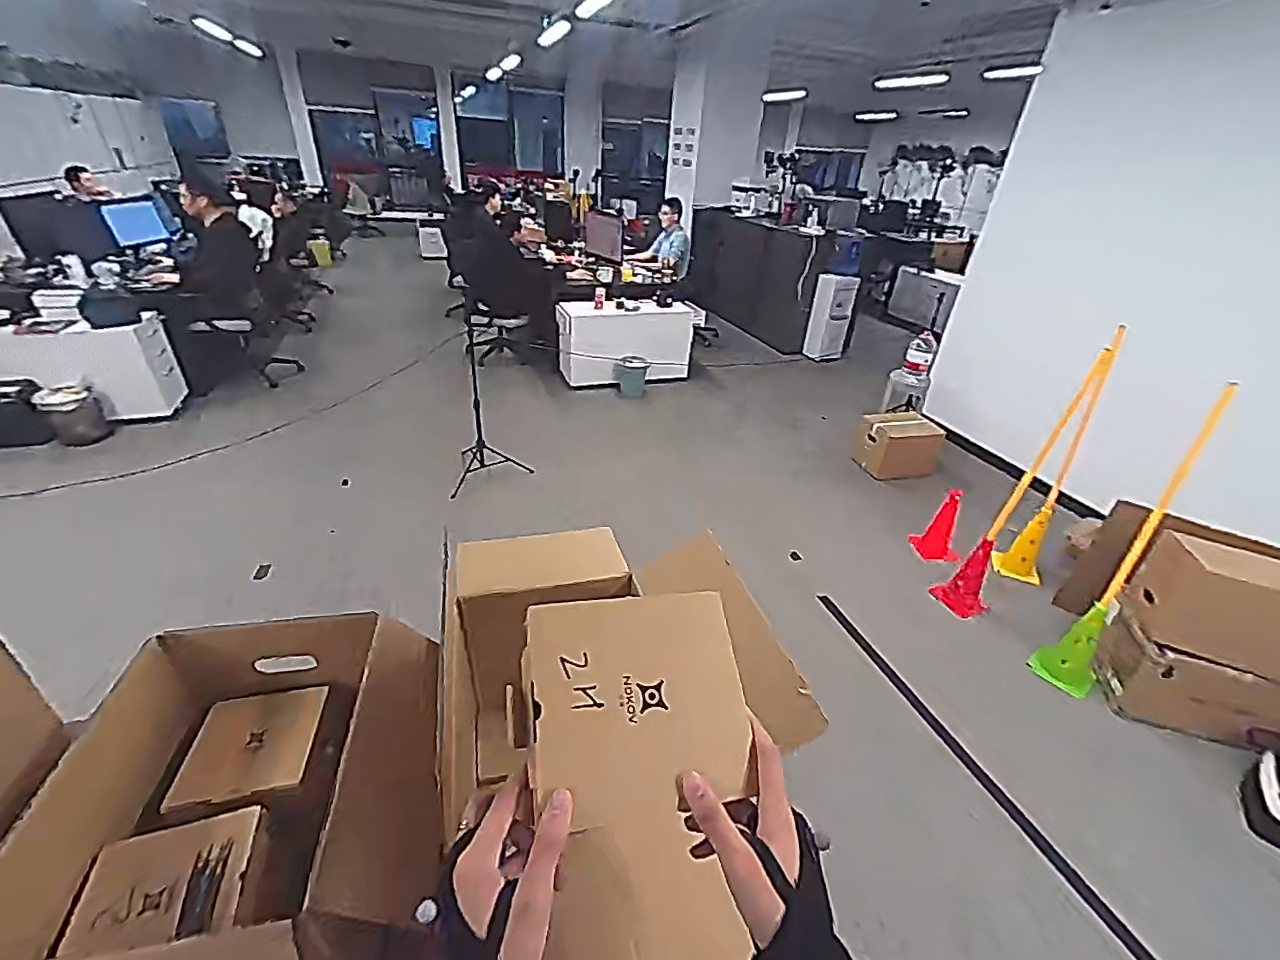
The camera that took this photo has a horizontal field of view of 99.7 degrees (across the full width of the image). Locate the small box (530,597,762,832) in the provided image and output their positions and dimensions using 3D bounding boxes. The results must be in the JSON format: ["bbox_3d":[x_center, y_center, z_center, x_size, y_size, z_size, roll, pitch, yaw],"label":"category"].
[{"bbox_3d":[-0.012,0.220,0.511,0.179,0.176,0.168,-2,59,-13],"label":"small box"}]
